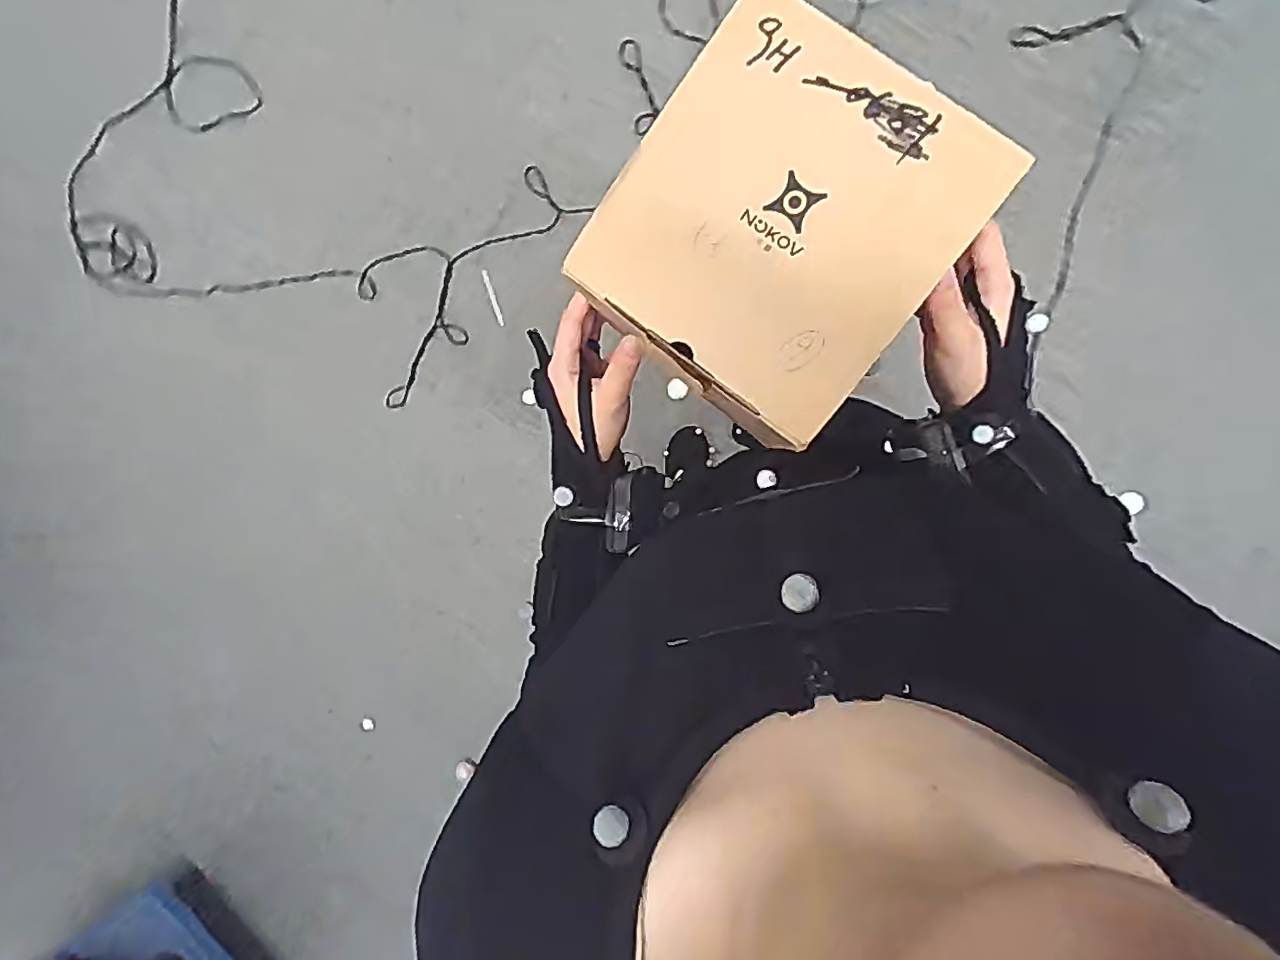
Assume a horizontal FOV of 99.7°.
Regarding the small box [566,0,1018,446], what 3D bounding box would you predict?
[{"bbox_3d":[0.084,-0.140,0.360,0.168,0.176,0.179,38,99,3],"label":"small box"}]
